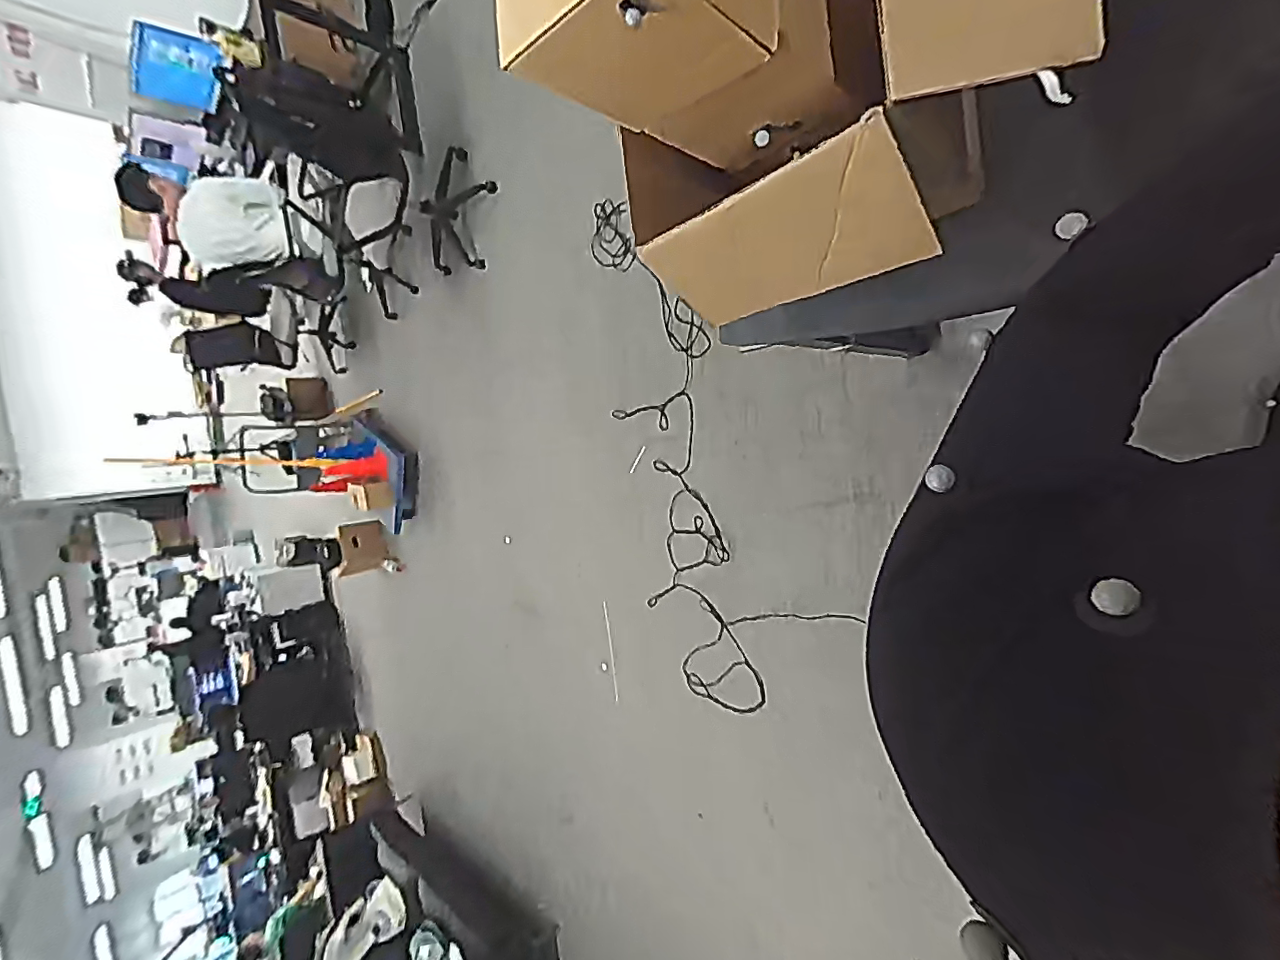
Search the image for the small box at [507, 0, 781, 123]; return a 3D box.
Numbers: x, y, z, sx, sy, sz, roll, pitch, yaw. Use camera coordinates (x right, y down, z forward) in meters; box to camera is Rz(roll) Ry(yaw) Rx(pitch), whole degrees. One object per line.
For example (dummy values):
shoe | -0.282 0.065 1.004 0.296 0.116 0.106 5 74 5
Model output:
small box | 0.002 -0.444 0.461 0.179 0.176 0.168 5 101 44
